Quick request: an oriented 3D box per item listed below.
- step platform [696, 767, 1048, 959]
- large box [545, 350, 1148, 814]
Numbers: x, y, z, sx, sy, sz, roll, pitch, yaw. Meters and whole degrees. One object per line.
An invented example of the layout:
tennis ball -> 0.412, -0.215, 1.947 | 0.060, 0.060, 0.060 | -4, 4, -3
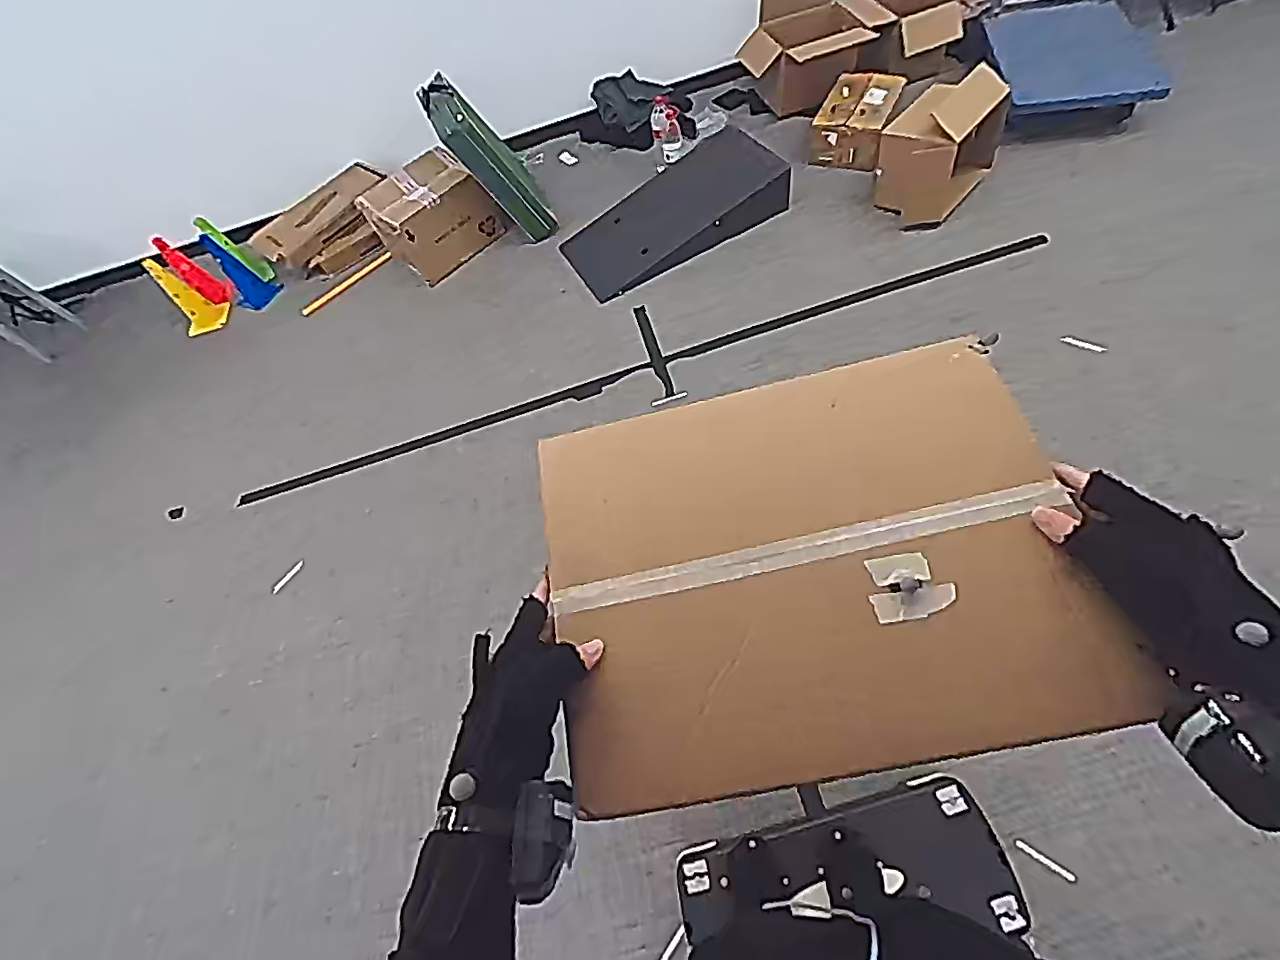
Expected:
step platform -> 0.469, 0.870, 1.175 | 0.684, 0.204, 0.286 | -18, 58, 0
large box -> 0.150, 0.123, 0.575 | 0.408, 0.320, 0.320 | -13, 65, 5
